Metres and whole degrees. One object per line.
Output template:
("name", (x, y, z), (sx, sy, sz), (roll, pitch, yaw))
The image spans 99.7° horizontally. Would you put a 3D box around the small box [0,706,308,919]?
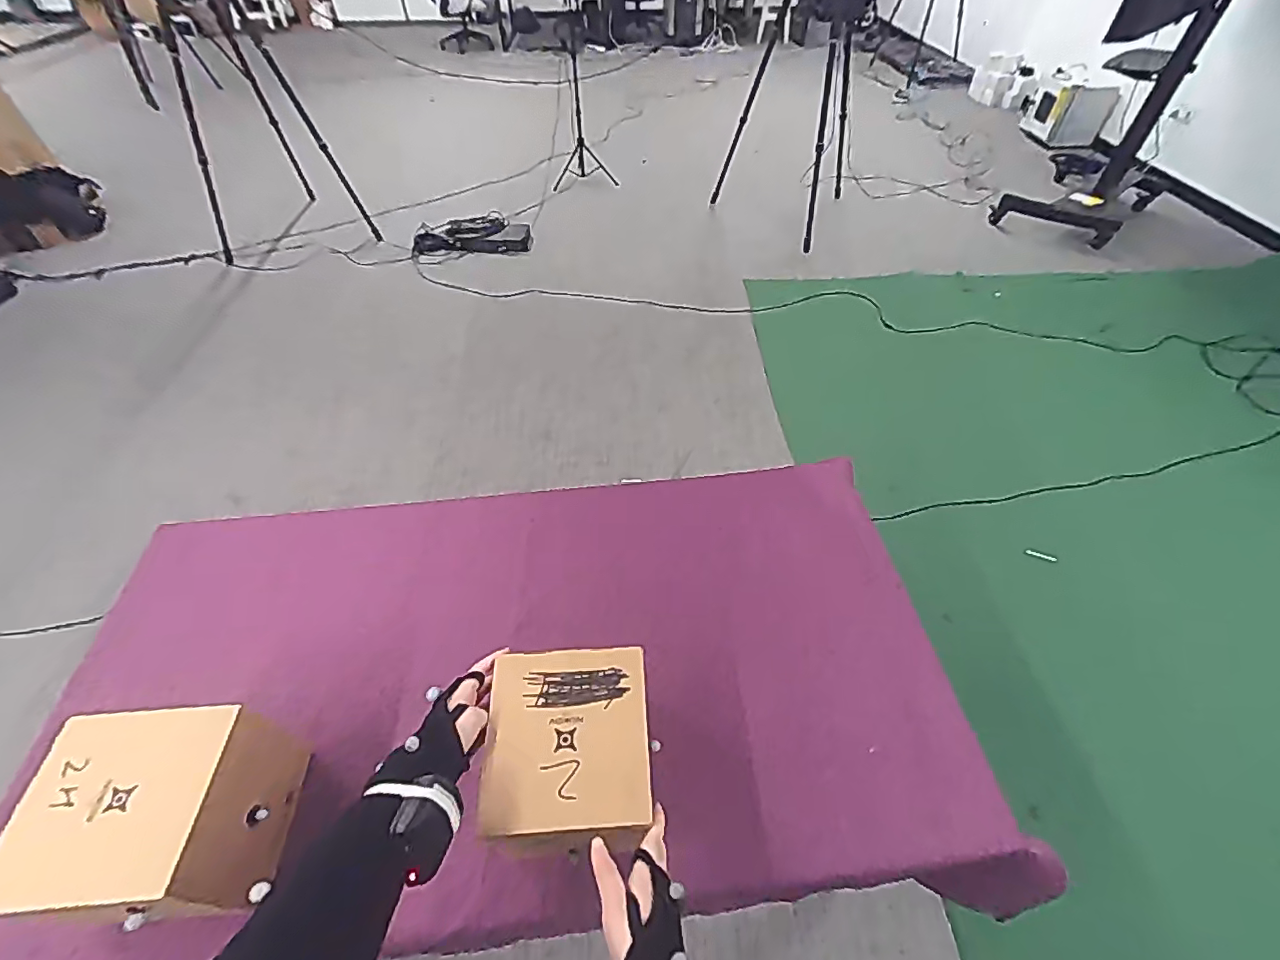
("small box", (-0.499, 0.357, 0.579), (0.179, 0.176, 0.168), (-3, 48, -2))
